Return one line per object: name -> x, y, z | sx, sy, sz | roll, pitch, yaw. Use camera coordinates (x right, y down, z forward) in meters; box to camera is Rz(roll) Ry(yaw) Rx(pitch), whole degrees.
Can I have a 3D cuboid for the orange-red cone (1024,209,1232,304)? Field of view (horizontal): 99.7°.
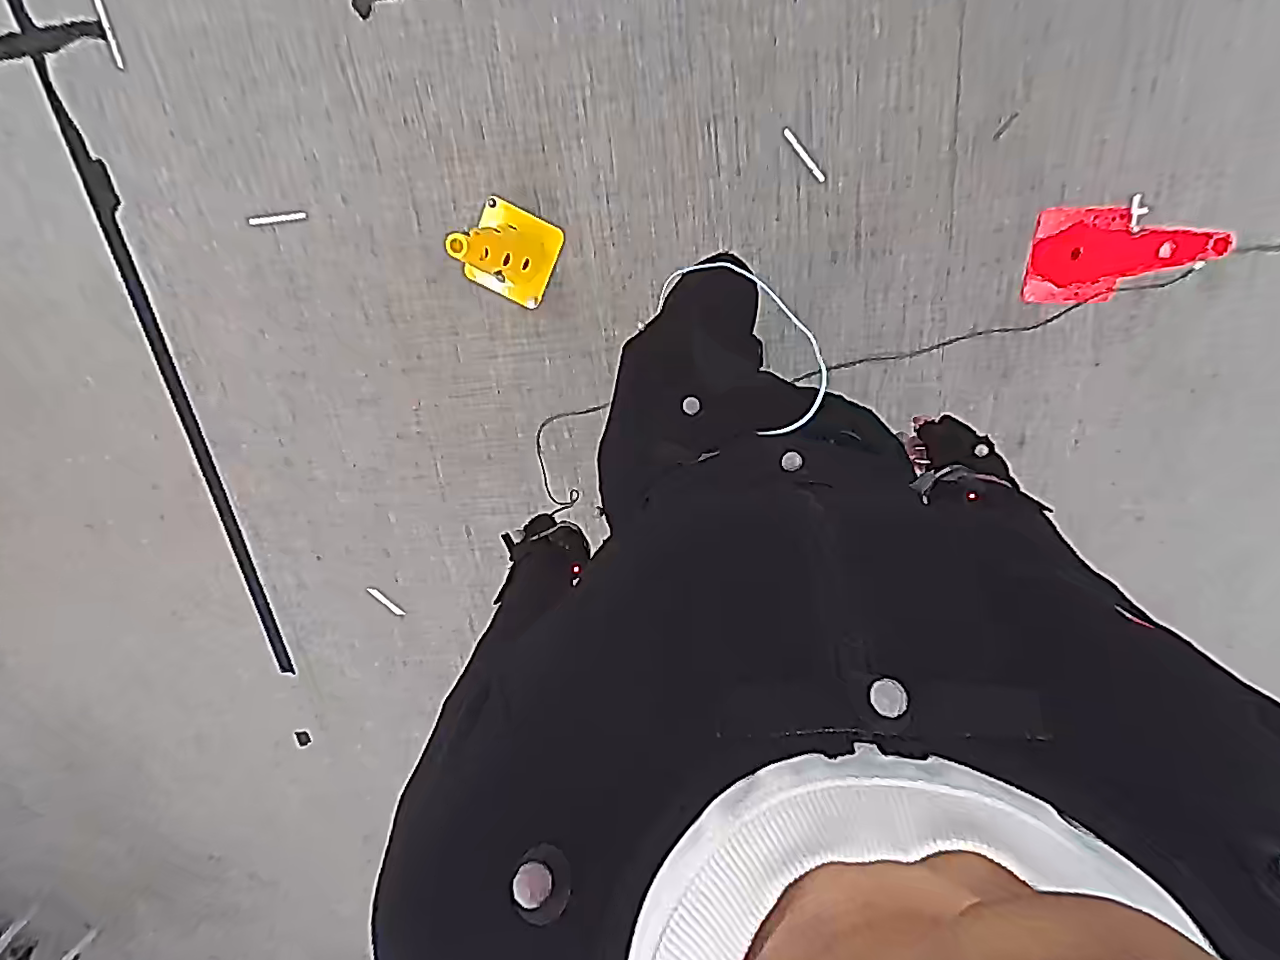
orange-red cone -> 0.974, -0.448, 1.061 | 0.199, 0.360, 0.198 | 3, 109, 5
